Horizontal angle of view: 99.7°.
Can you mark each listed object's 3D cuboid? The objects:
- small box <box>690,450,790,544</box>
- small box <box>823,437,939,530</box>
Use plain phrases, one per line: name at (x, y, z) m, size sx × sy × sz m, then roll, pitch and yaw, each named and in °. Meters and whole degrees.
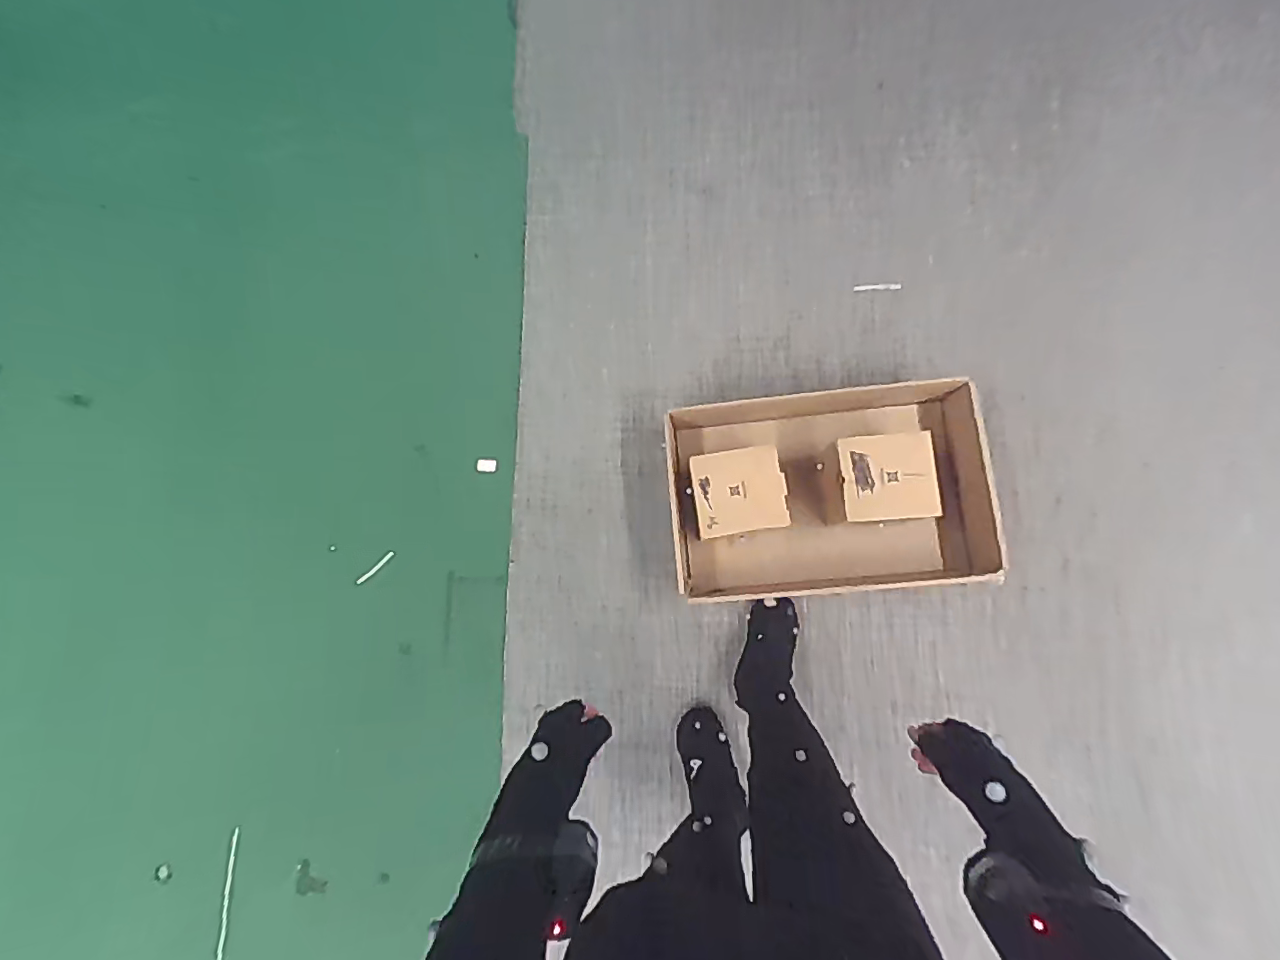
small box at (0.201, 0.042, 1.135) m, size 0.179 × 0.176 × 0.168 m, roll -8°, pitch 80°, yaw 4°
small box at (0.479, 0.014, 1.106) m, size 0.179 × 0.176 × 0.168 m, roll -4°, pitch 82°, yaw 7°
